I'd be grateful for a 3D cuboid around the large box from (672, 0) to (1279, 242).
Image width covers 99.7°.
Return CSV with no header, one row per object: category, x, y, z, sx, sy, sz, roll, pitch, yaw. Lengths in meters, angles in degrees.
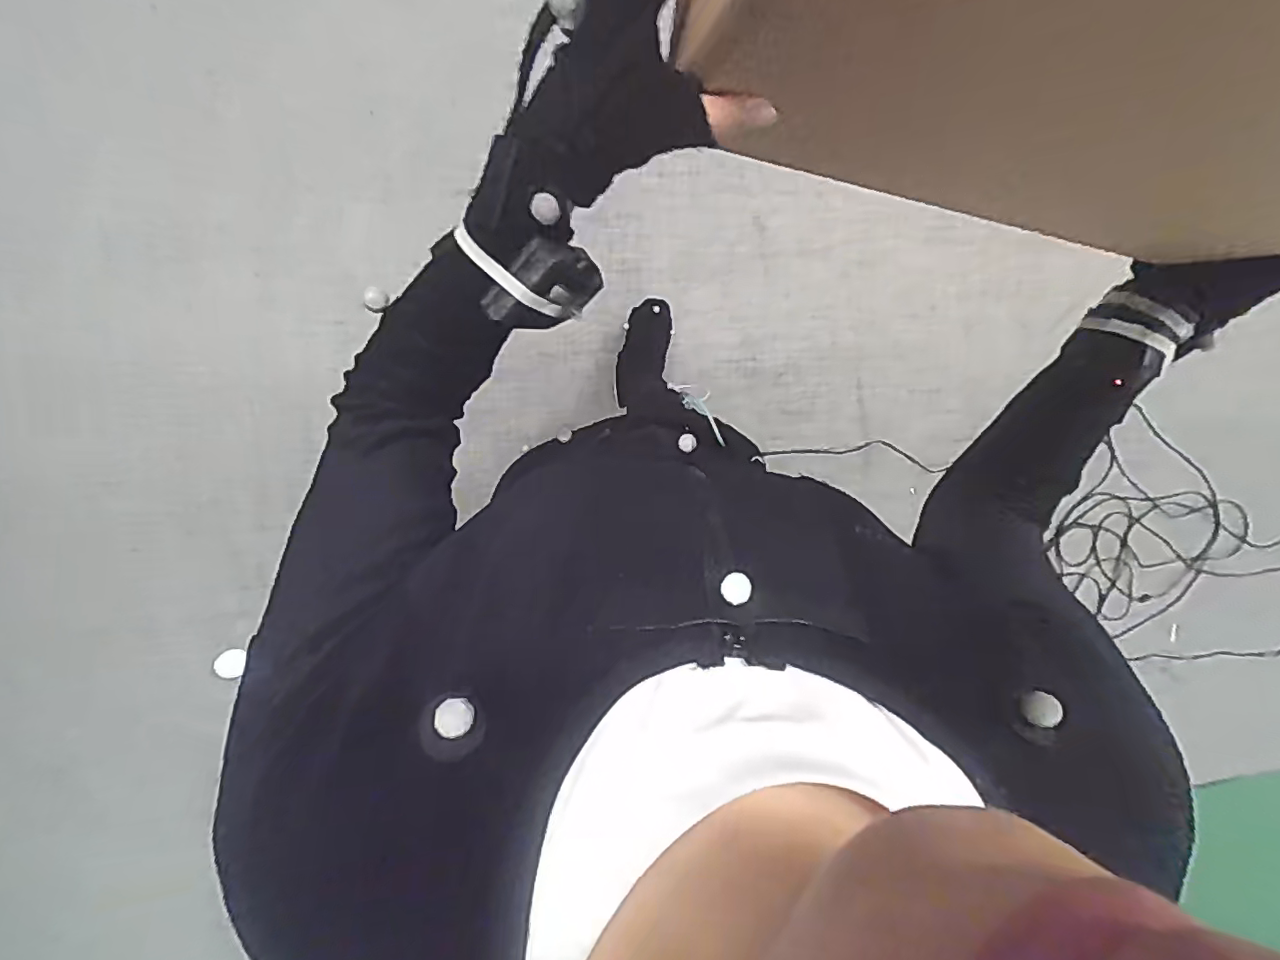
large box,0.256,-0.297,0.184,0.408,0.320,0.320,5,106,-14
